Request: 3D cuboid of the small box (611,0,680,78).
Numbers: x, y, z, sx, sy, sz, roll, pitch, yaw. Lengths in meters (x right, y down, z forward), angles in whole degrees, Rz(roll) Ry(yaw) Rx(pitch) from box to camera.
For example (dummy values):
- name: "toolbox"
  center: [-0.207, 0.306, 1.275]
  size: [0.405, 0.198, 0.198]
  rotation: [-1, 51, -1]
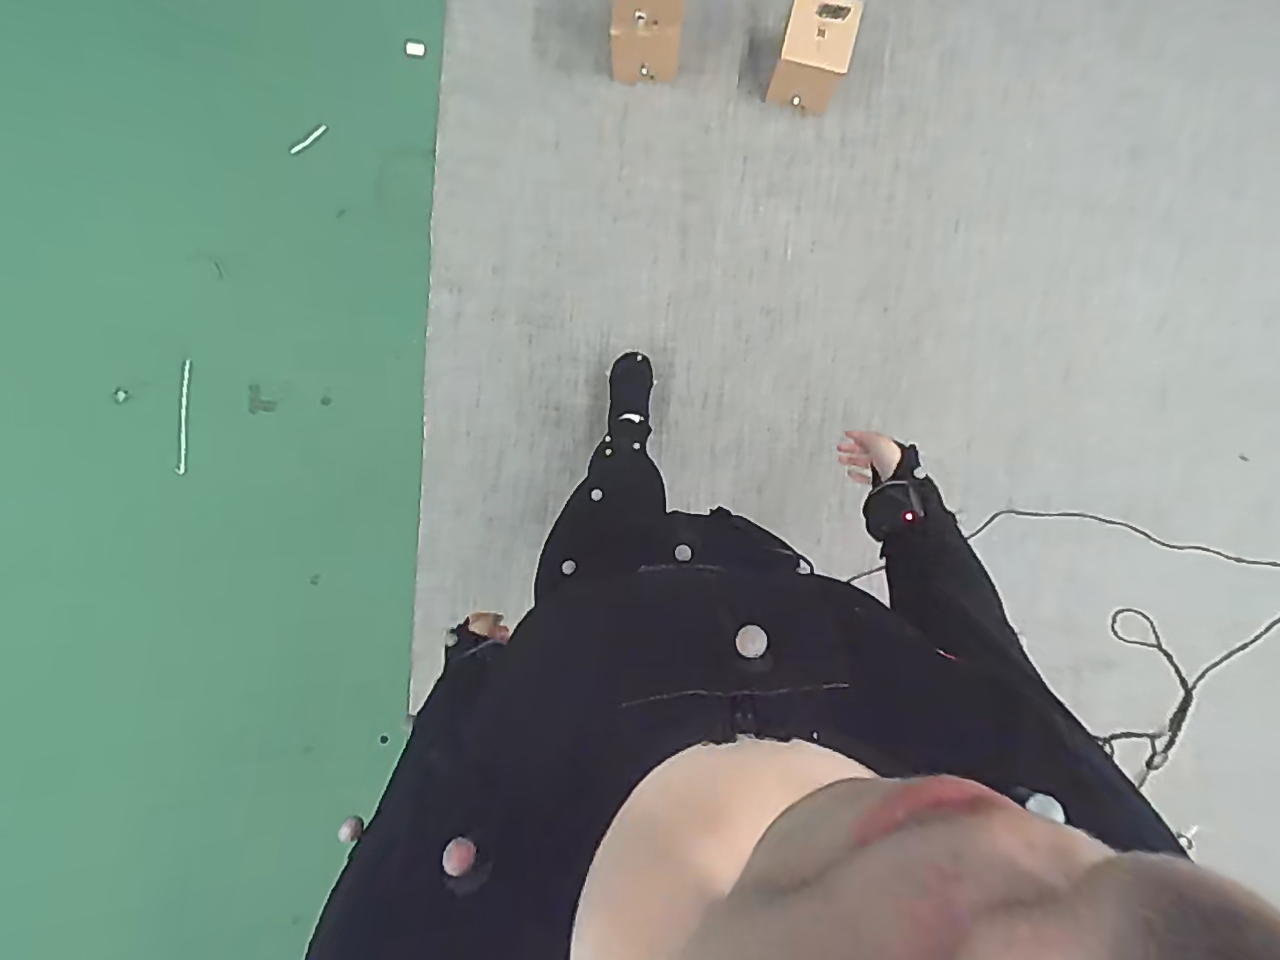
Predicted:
- name: "small box"
  center: [0.012, -1.149, 1.344]
  size: [0.168, 0.176, 0.179]
  rotation: [0, 92, -1]

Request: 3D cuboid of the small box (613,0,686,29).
- name: "small box"
  center: [0.023, -1.146, 1.184]
  size: [0.168, 0.176, 0.179]
  rotation: [2, 90, 1]

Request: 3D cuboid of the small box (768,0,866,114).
- name: "small box"
  center: [0.434, -1.070, 1.351]
  size: [0.168, 0.176, 0.179]
  rotation: [14, 93, -1]
